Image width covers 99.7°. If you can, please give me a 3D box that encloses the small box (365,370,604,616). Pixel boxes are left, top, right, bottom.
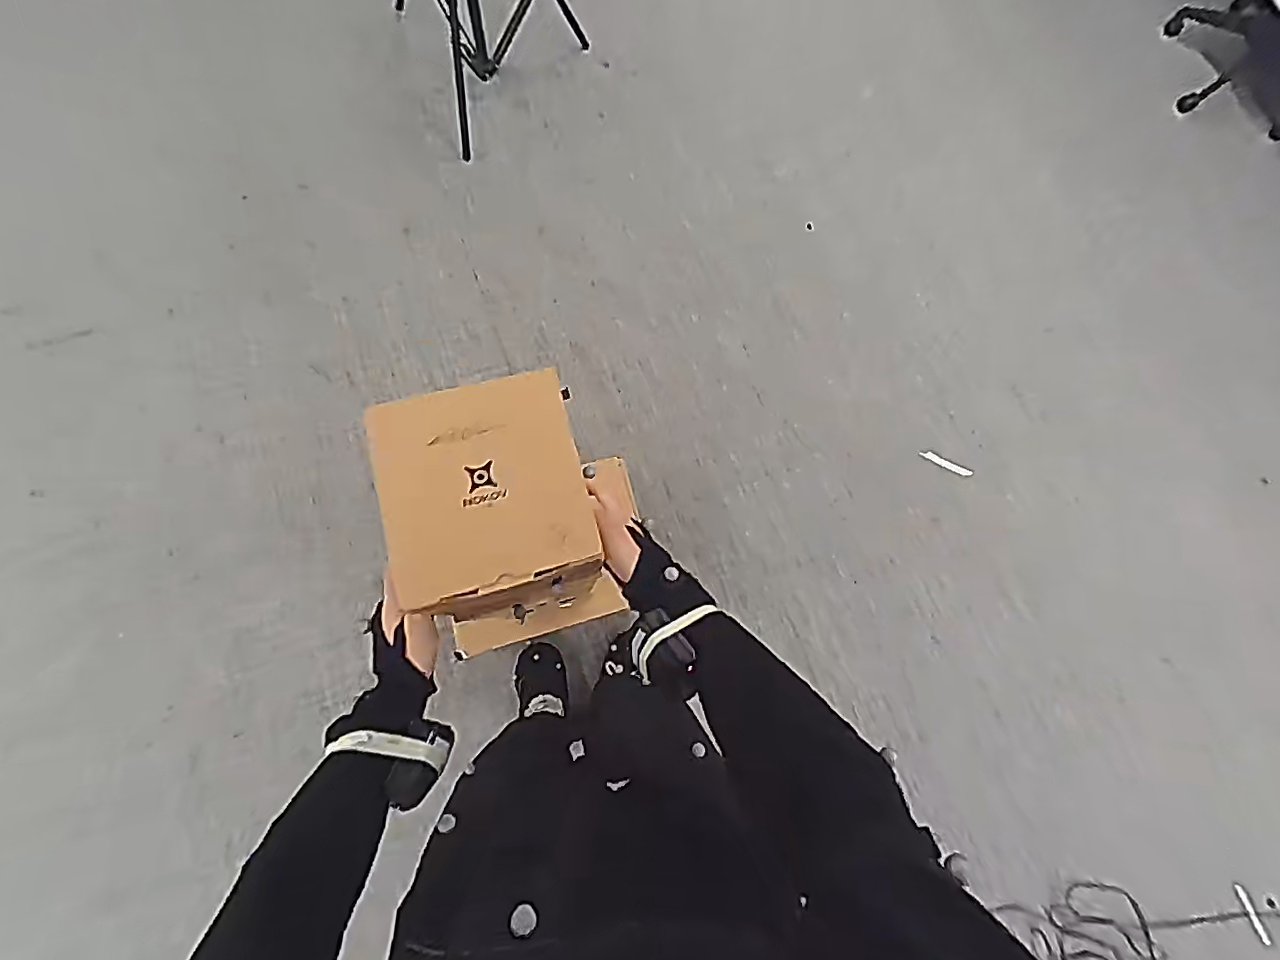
[{"bbox_3d":[-0.136,0.023,0.521,0.168,0.176,0.179,-15,77,-11],"label":"small box"}]

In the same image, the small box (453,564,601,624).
[{"bbox_3d":[-0.150,0.068,0.676,0.168,0.176,0.179,-17,78,-10],"label":"small box"}]
